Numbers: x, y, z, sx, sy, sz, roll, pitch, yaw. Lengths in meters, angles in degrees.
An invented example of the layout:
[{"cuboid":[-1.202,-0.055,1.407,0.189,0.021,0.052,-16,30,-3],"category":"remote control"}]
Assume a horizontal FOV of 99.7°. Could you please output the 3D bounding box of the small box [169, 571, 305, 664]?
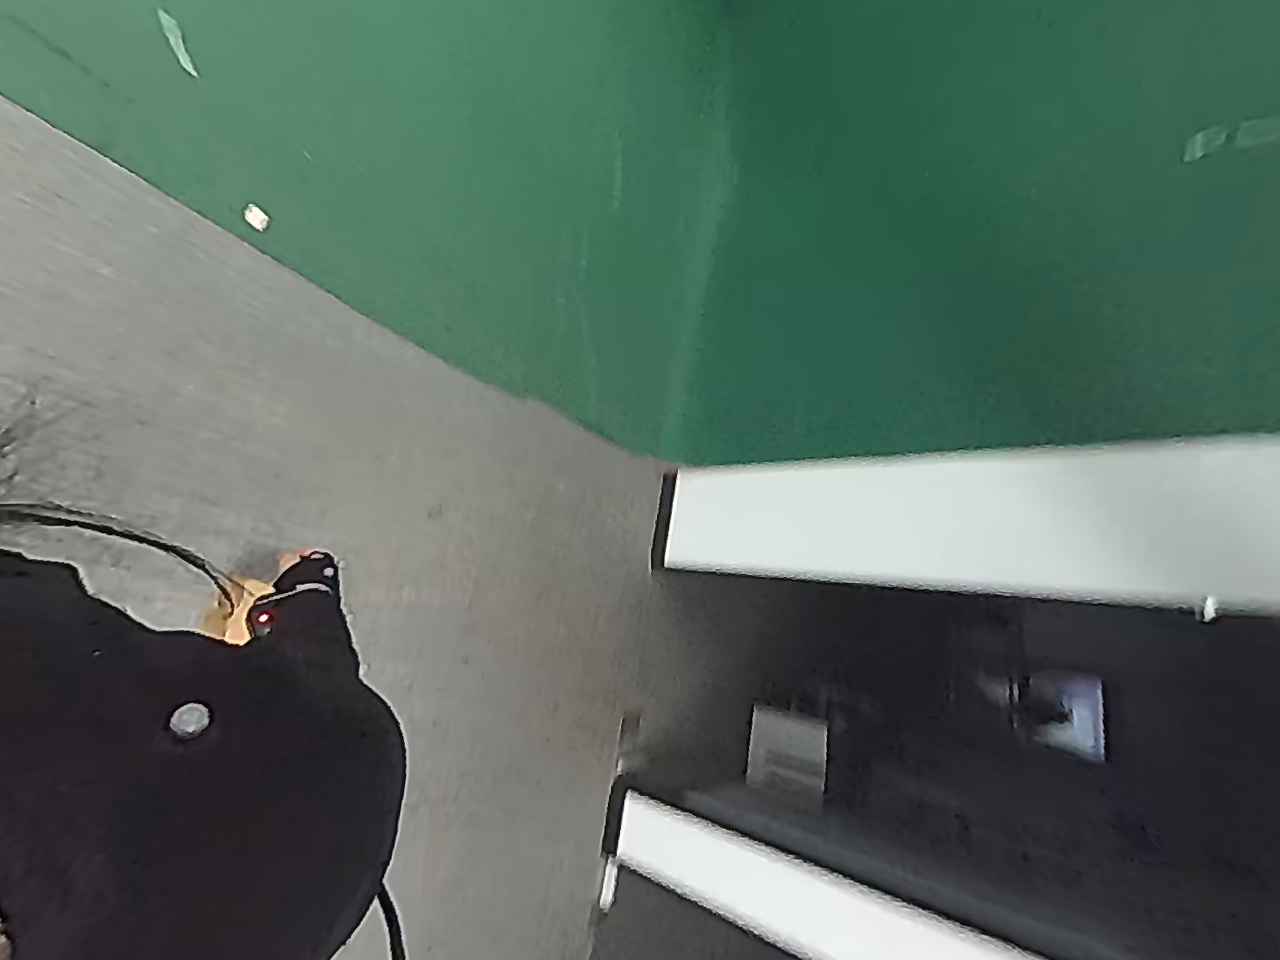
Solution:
[{"cuboid":[-0.926,0.314,1.245,0.179,0.176,0.168,36,61,-47],"category":"small box"}]
